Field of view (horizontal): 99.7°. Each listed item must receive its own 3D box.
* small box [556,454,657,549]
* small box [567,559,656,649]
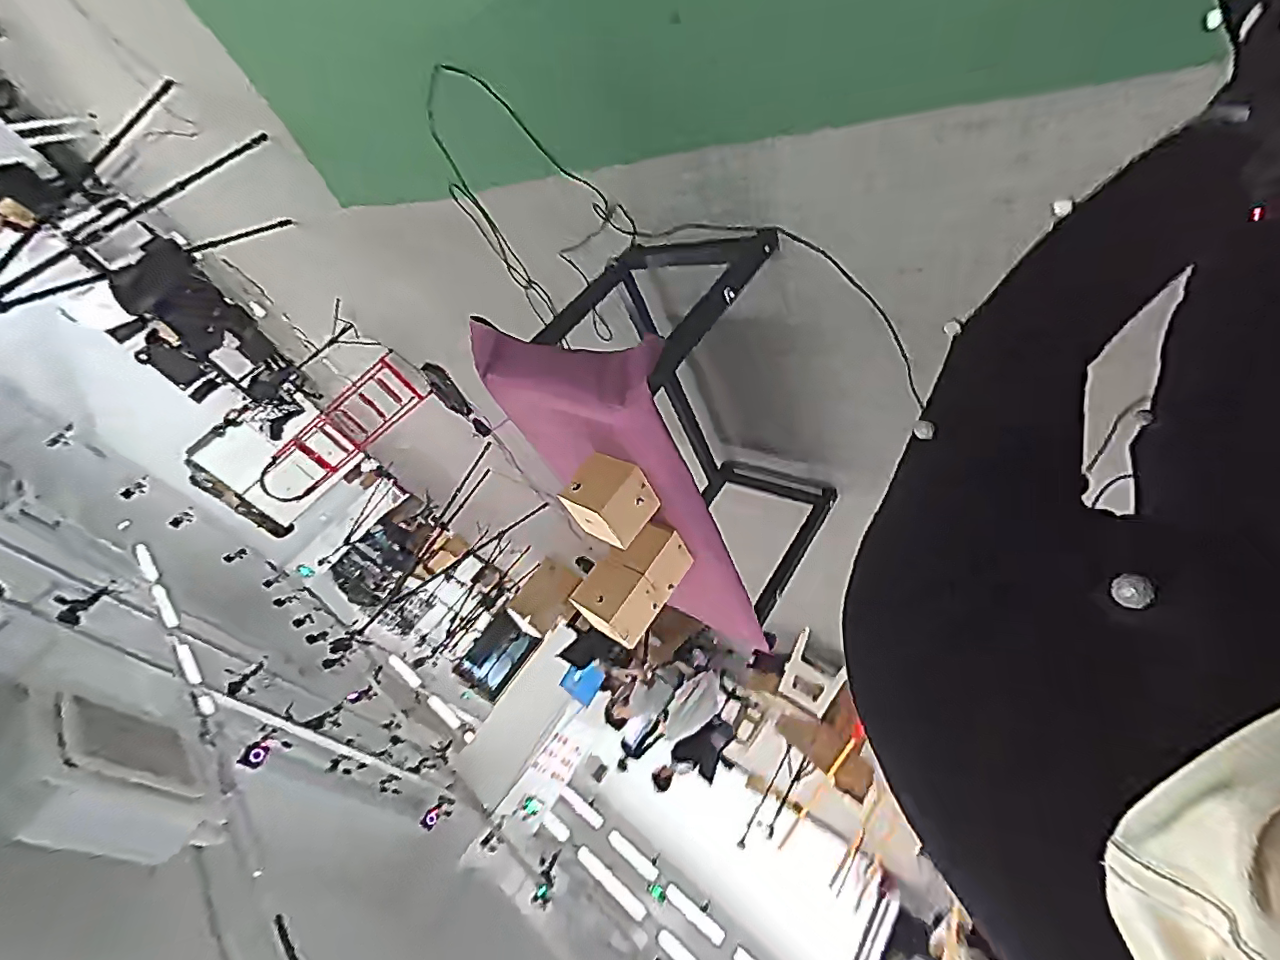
[{"bbox_3d":[-0.087,0.051,1.457,0.179,0.176,0.168,19,151,40],"label":"small box"},{"bbox_3d":[-0.074,0.357,1.587,0.179,0.176,0.168,19,151,41],"label":"small box"}]
